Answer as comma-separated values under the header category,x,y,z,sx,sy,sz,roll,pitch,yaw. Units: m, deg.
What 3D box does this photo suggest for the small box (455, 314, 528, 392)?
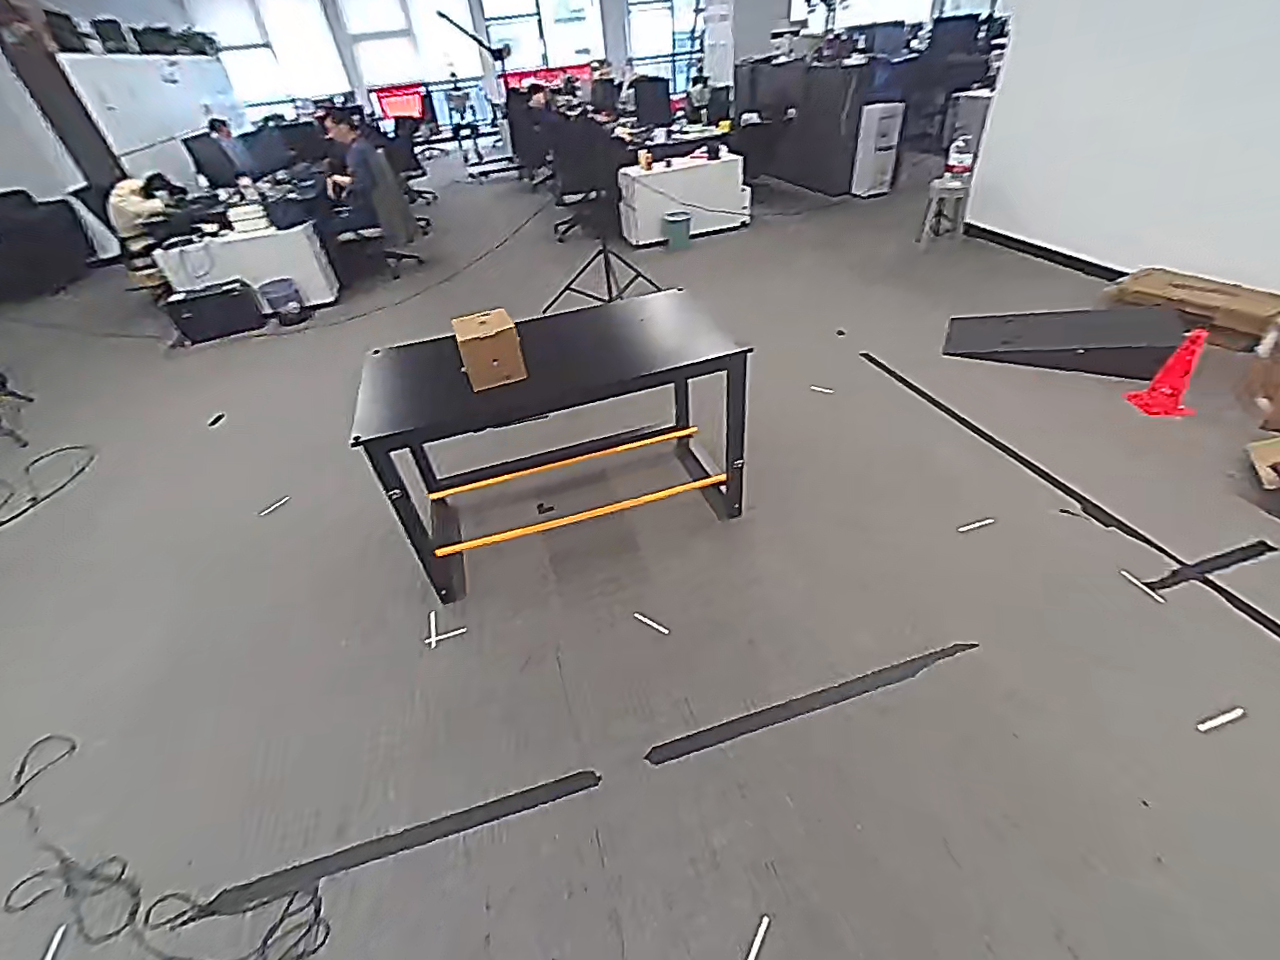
category,x,y,z,sx,sy,sz,roll,pitch,yaw
small box,-0.458,-0.389,1.675,0.168,0.176,0.179,-19,41,-14
